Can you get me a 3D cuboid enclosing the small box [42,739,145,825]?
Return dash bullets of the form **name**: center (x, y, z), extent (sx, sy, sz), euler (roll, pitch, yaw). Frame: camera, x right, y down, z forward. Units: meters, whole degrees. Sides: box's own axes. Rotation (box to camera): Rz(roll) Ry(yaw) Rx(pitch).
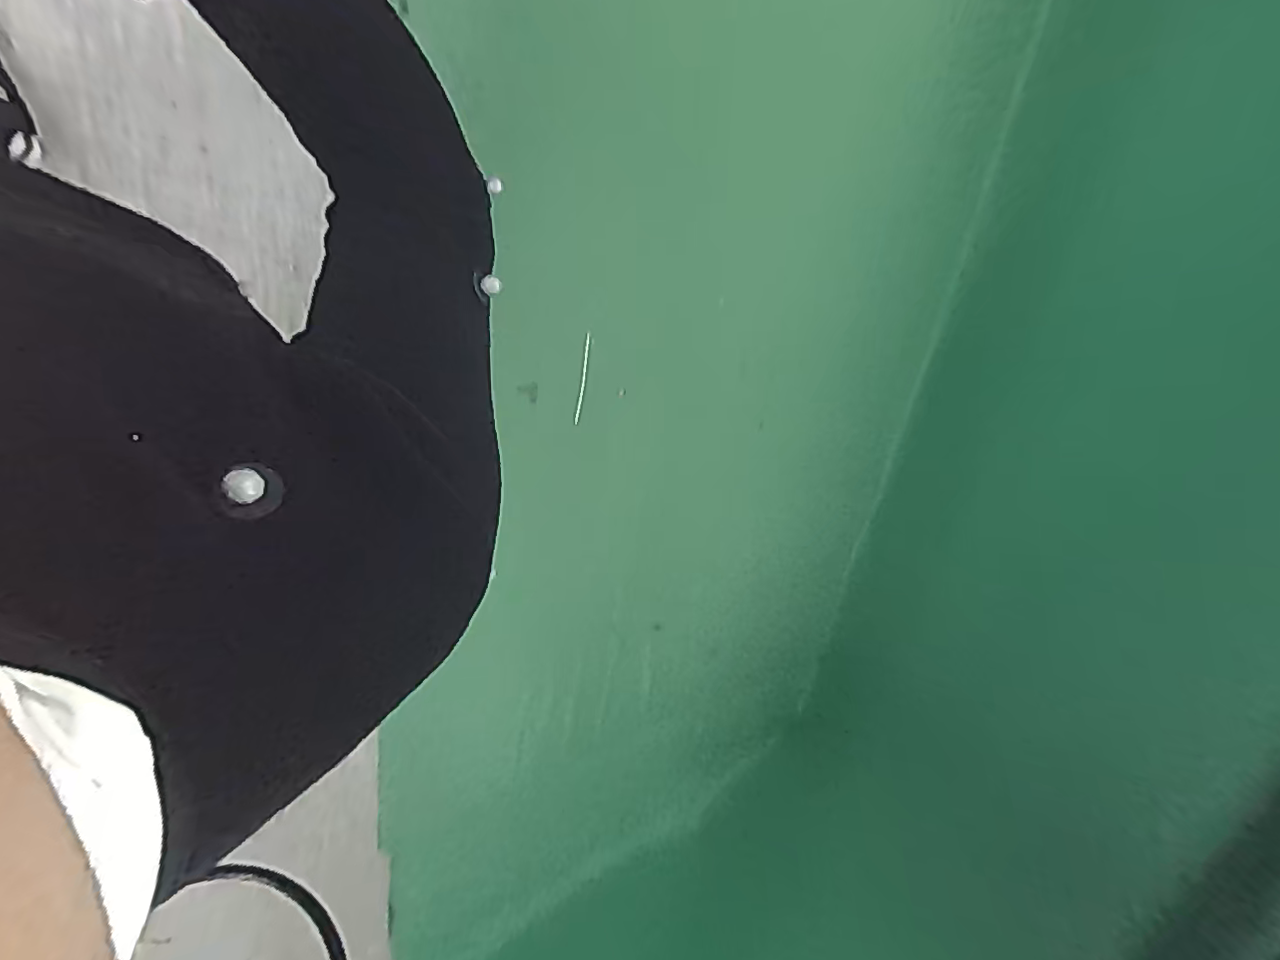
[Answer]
- **small box**: center (-1.395, 0.799, 1.390), extent (0.168, 0.176, 0.179), euler (-3, 114, -38)
